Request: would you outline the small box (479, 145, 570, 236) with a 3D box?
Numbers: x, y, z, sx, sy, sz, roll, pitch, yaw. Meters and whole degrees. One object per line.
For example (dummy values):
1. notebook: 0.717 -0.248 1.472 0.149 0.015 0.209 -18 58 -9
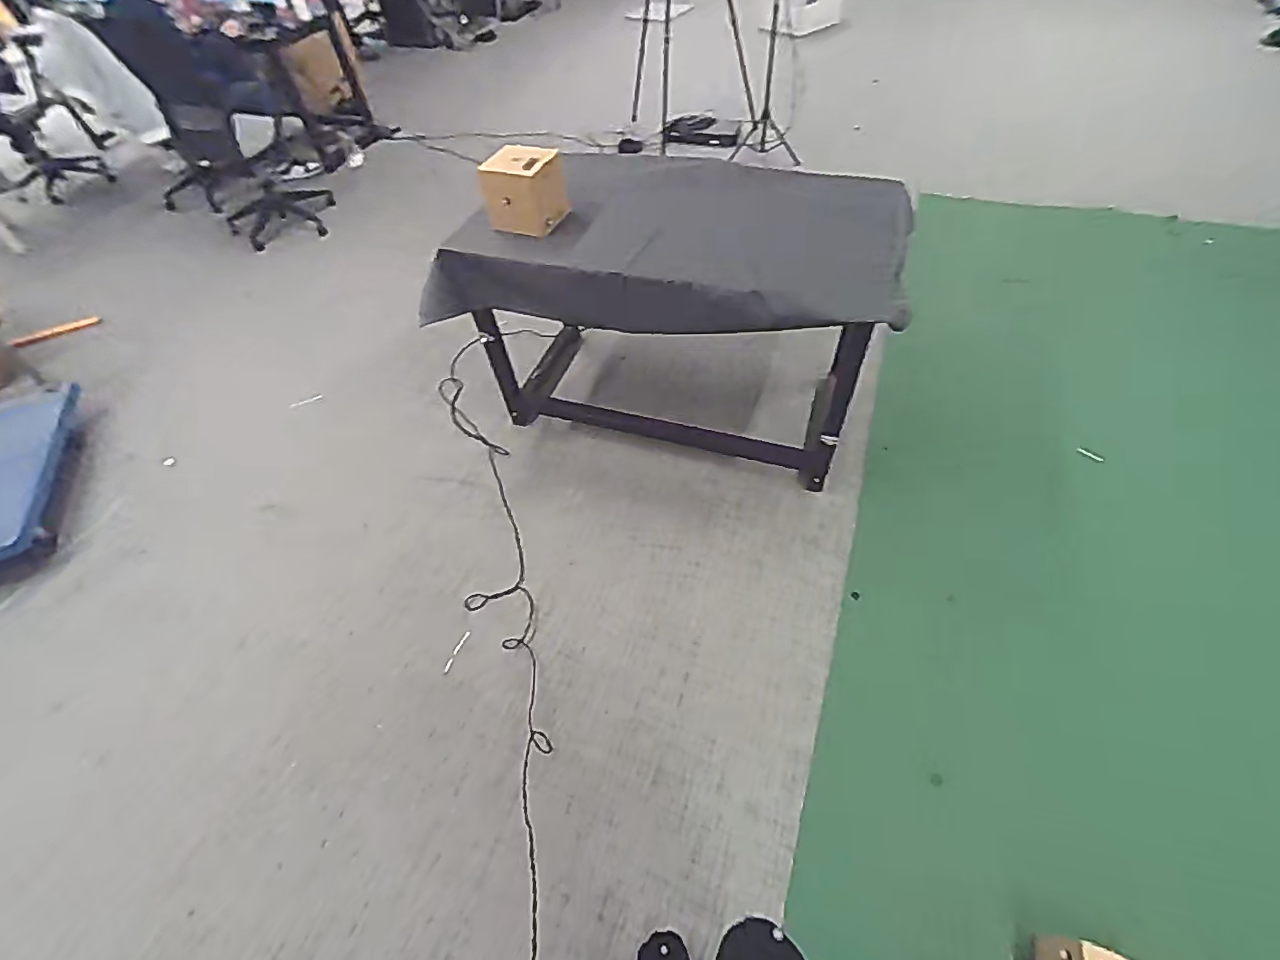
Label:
1. small box: -0.313 -0.808 1.517 0.179 0.176 0.168 17 55 17
